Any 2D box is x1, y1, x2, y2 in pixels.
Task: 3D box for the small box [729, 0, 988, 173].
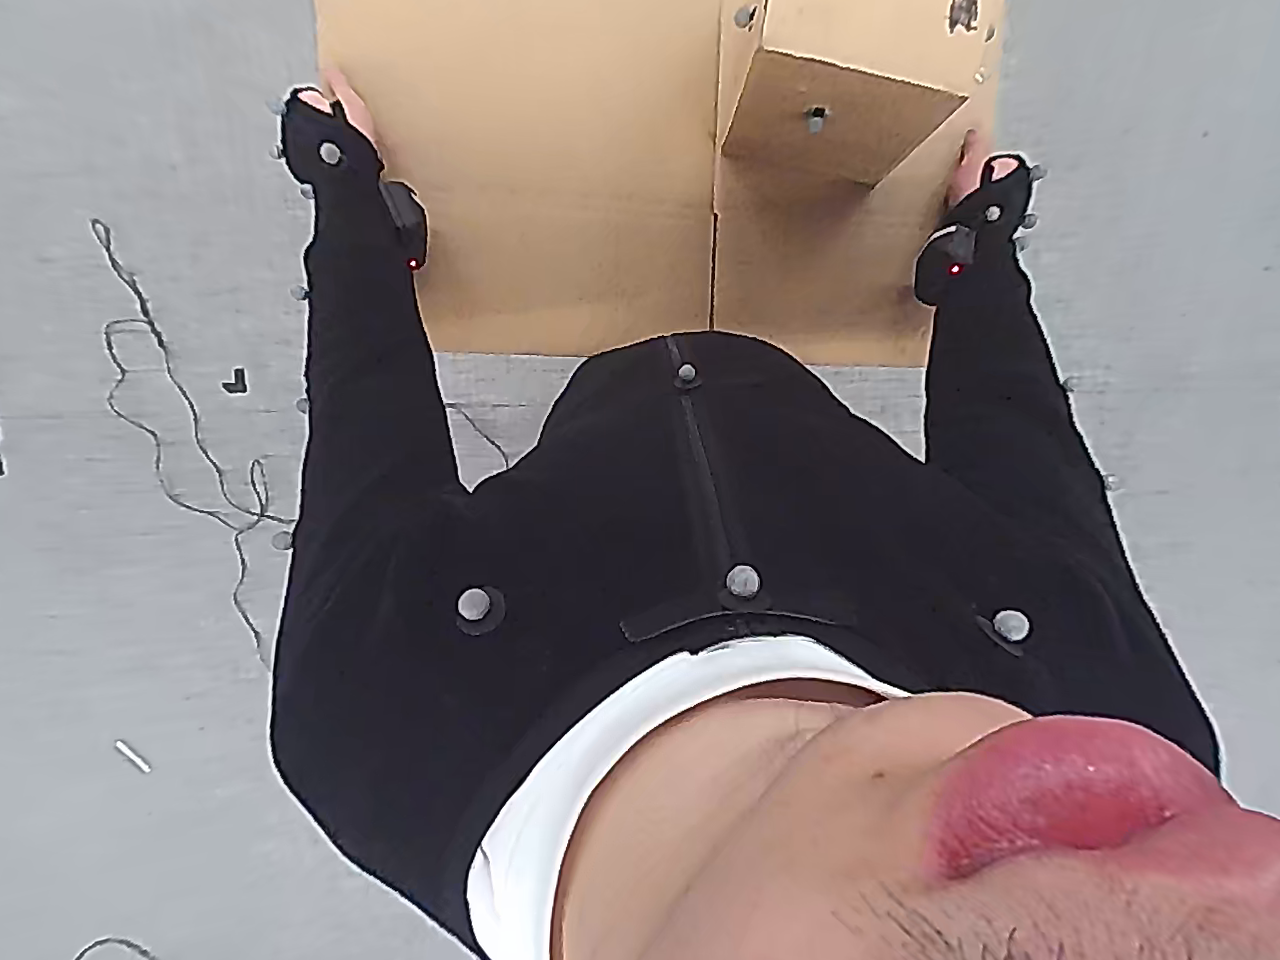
[{"bbox_3d":[0.190,-0.413,0.498,0.179,0.176,0.168,11,97,-1],"label":"small box"}]
